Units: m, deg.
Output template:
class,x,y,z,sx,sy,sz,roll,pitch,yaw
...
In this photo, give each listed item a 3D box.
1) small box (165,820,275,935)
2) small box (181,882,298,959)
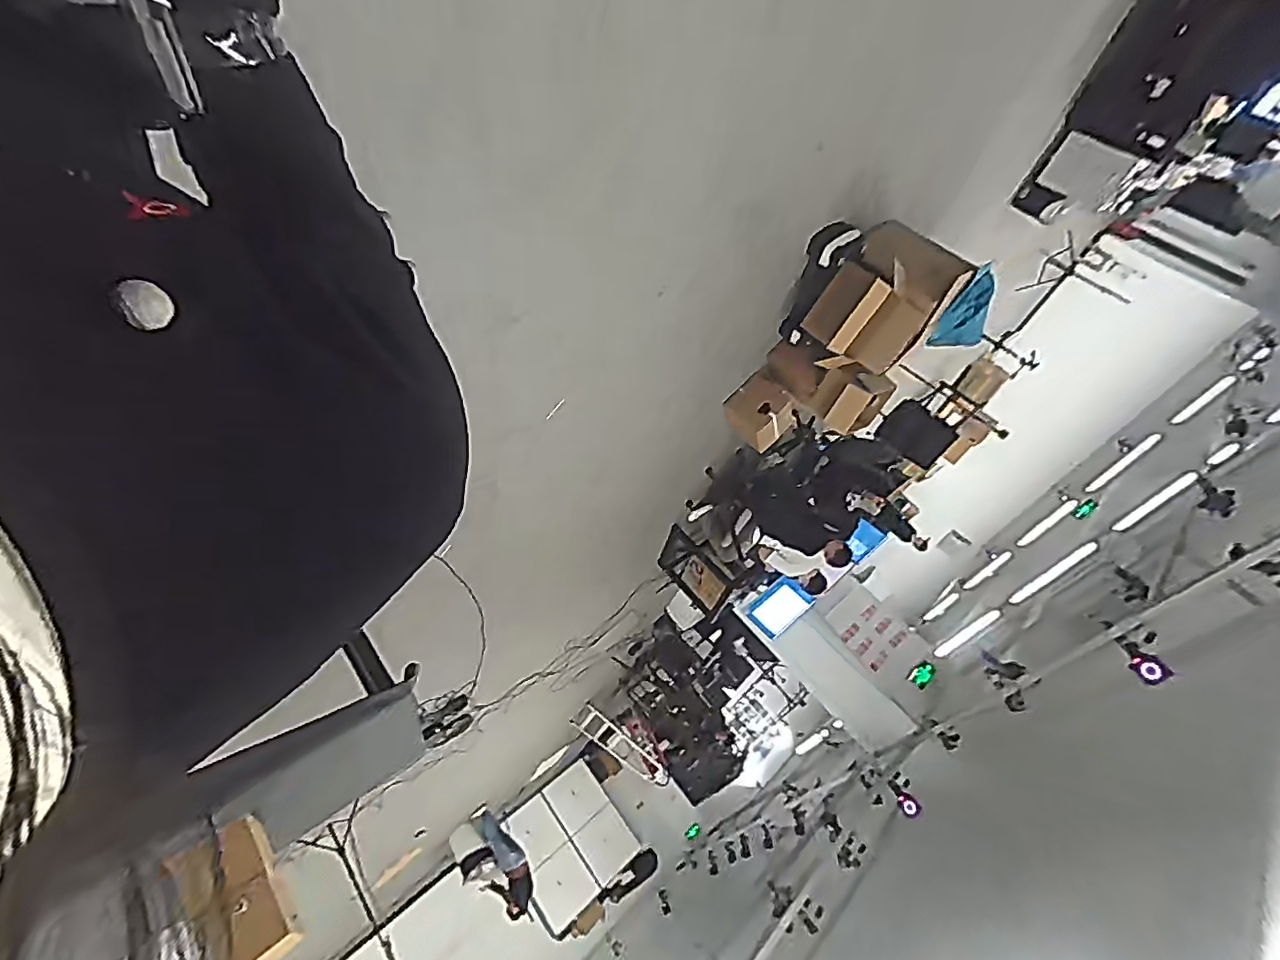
class,x,y,z,sx,sy,sz,roll,pitch,yaw
small box,-1.084,1.027,1.395,0.179,0.176,0.168,-25,151,-35
small box,-0.980,1.134,1.330,0.168,0.176,0.179,-28,151,-35
